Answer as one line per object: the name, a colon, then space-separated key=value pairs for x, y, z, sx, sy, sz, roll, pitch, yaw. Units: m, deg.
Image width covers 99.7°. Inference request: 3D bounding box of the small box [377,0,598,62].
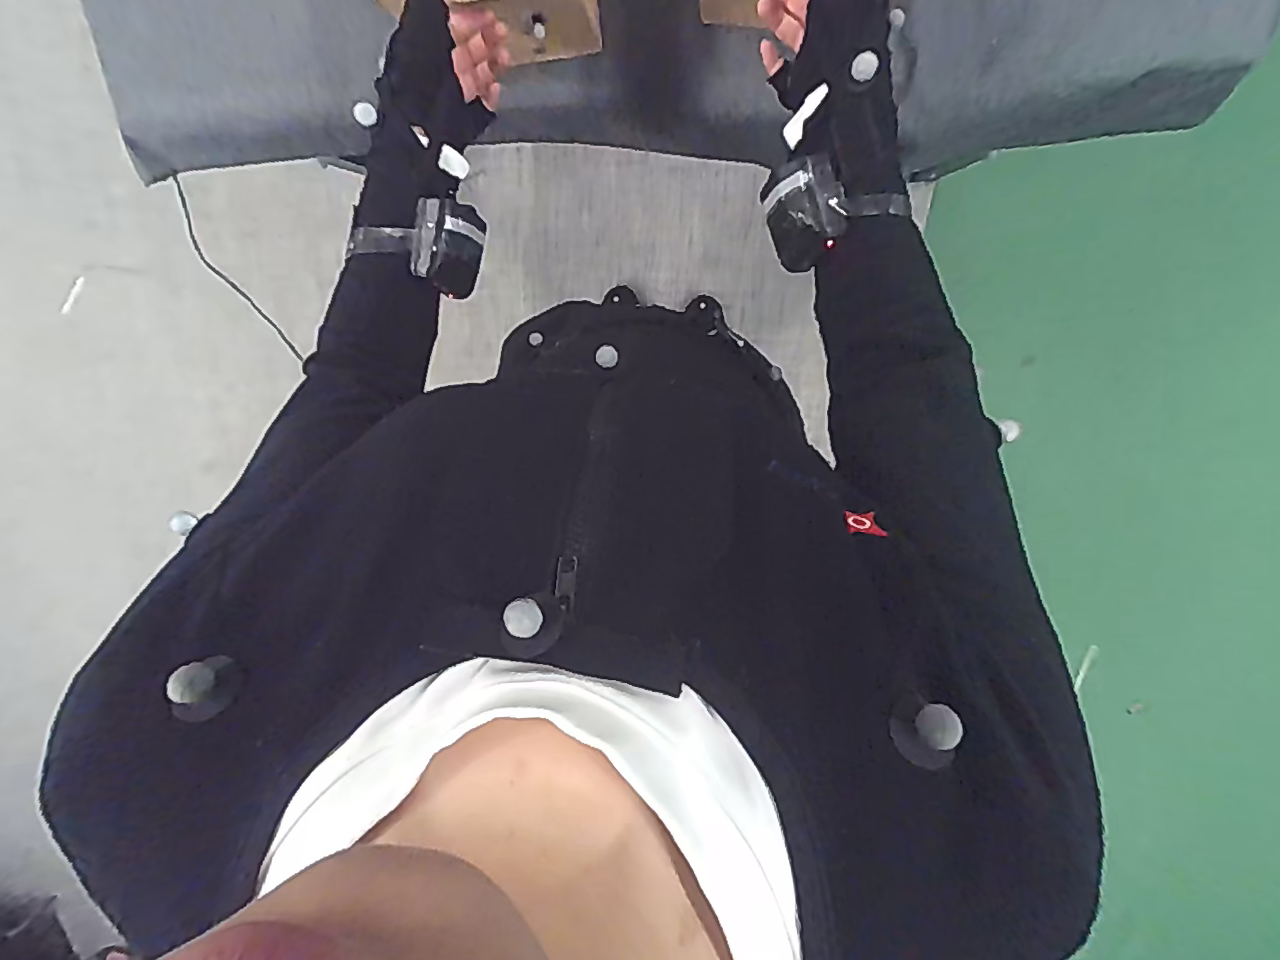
small box: x=-0.135 y=-0.496 z=0.468 sx=0.168 sy=0.176 sz=0.179 roll=-4 pitch=108 yaw=6
